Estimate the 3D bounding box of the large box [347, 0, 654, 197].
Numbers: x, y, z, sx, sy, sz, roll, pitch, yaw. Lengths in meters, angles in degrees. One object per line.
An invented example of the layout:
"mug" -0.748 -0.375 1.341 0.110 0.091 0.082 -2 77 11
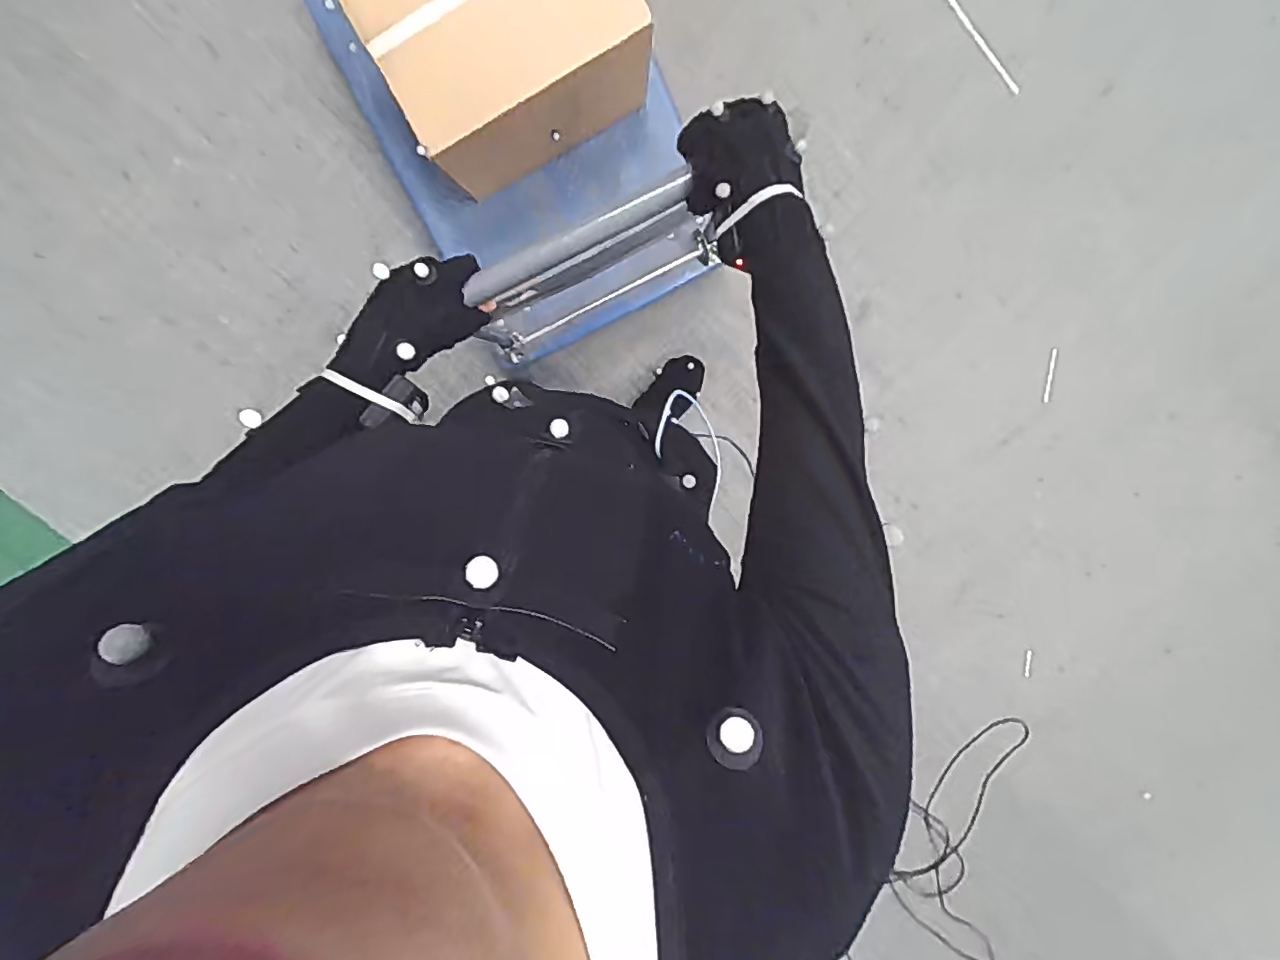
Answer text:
"large box" -0.225 -0.778 0.952 0.408 0.320 0.320 -28 104 6
